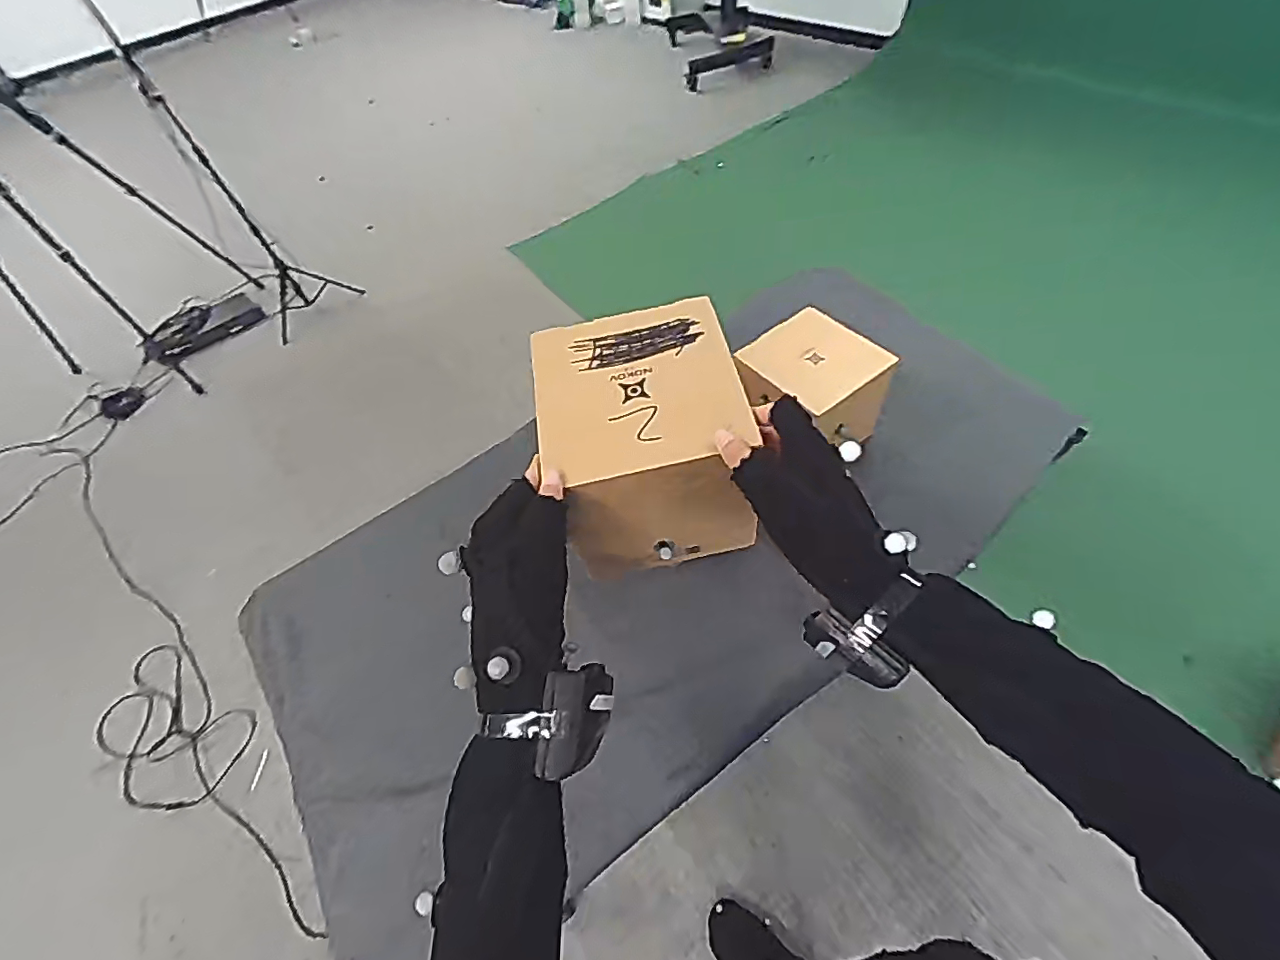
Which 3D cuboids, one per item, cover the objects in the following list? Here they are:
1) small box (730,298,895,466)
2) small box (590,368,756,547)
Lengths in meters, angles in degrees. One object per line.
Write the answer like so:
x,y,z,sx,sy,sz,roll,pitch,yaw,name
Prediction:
0.260,-0.146,0.855,0.168,0.176,0.179,-34,57,-15,small box
0.052,-0.024,0.798,0.168,0.176,0.179,-32,56,-14,small box
